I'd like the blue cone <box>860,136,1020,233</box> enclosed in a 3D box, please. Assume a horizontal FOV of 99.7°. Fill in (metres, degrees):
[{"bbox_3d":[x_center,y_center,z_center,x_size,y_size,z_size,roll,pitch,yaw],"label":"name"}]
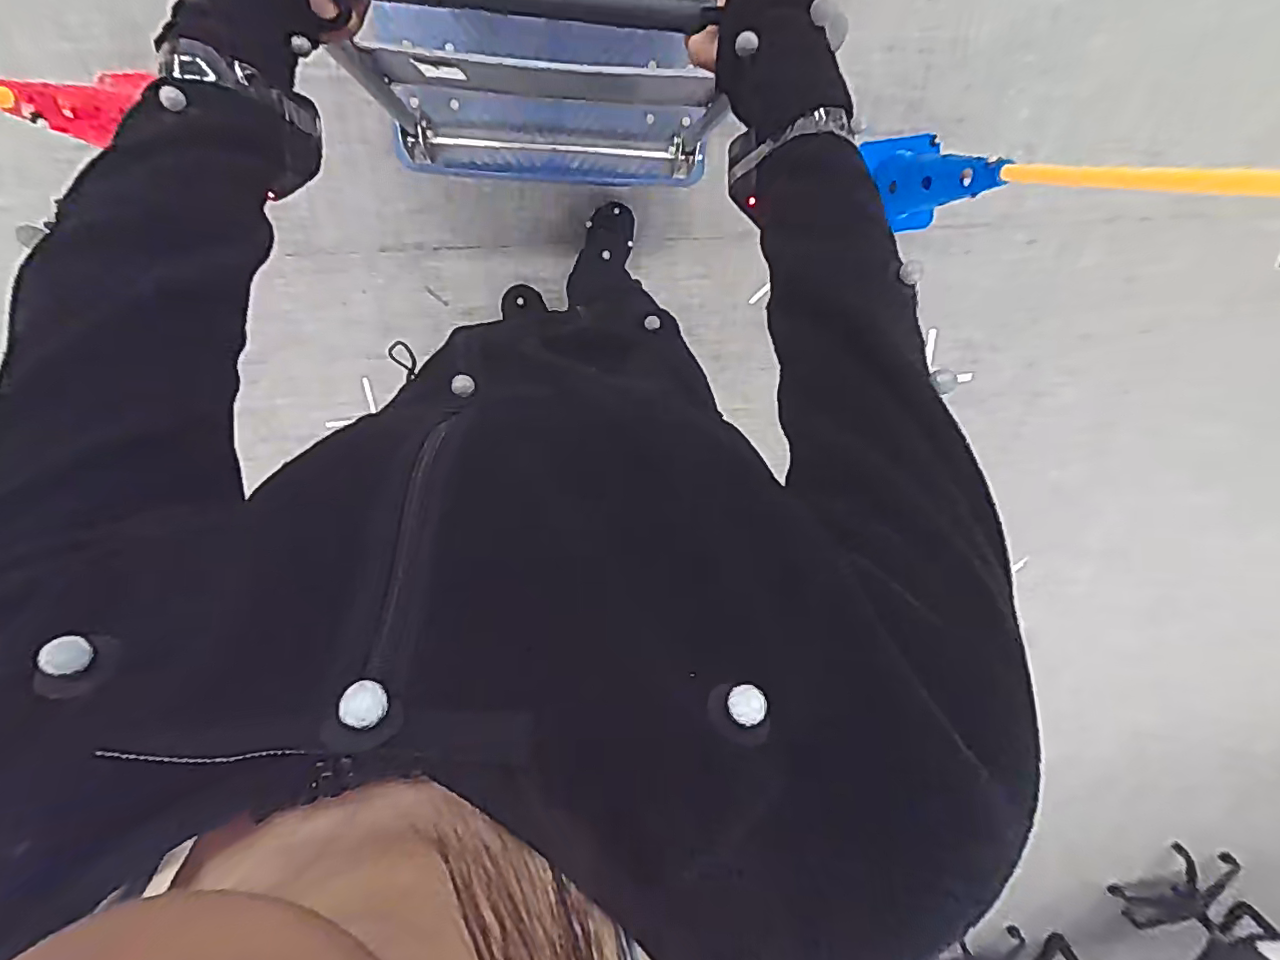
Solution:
[{"bbox_3d":[0.629,-0.624,1.119,0.193,0.380,0.192,-8,115,-4],"label":"blue cone"}]
